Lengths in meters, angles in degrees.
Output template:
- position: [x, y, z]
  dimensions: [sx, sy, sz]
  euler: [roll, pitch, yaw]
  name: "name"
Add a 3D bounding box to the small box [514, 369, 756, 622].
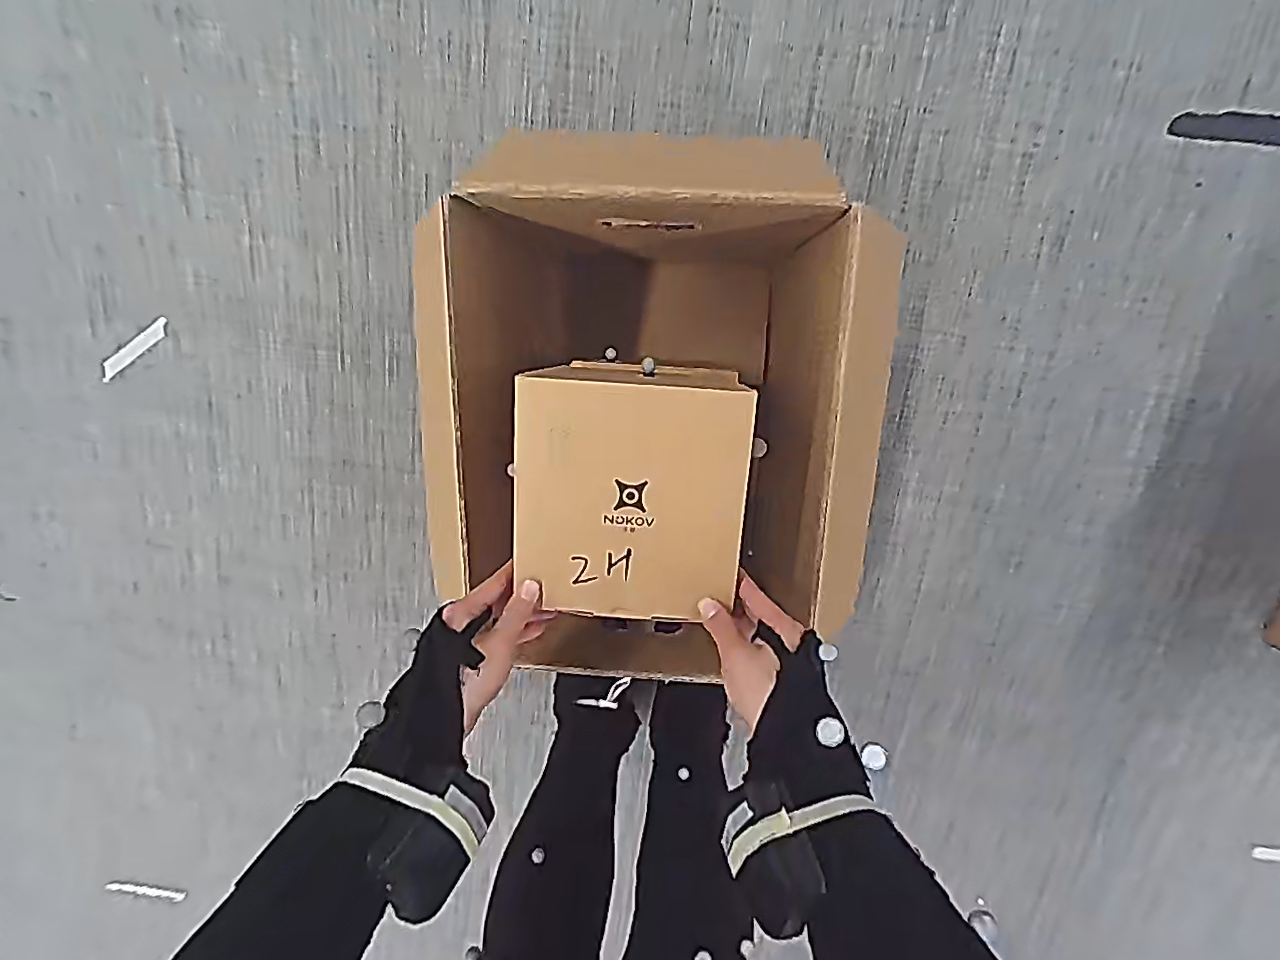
- position: [-0.005, -0.001, 0.464]
  dimensions: [0.168, 0.176, 0.179]
  euler: [4, 104, 2]
  name: "small box"
